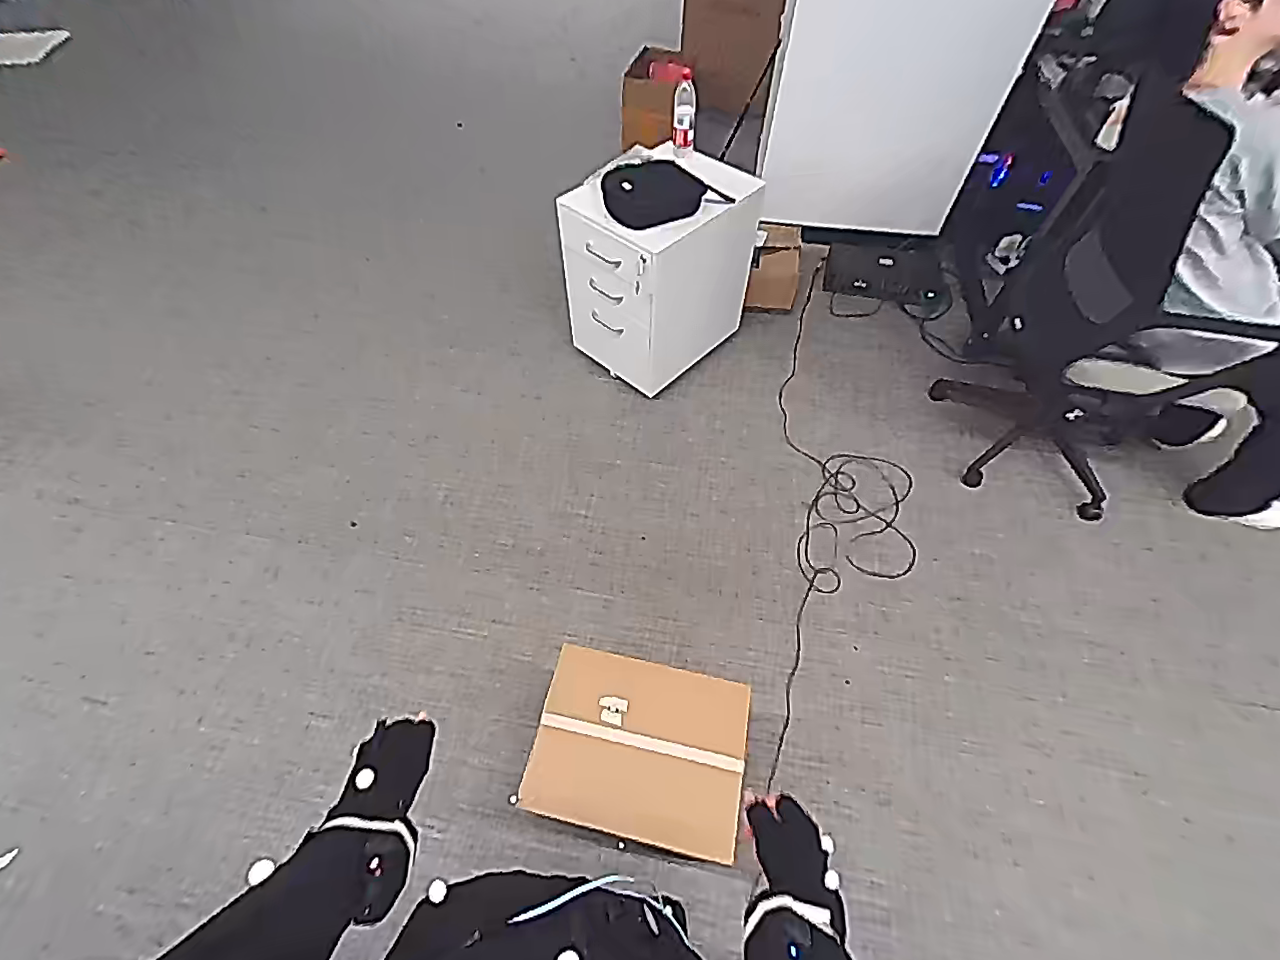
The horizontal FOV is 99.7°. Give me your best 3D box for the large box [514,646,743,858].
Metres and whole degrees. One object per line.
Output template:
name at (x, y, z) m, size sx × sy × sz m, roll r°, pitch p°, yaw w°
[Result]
large box at (-0.008, 0.594, 1.181) m, size 0.408 × 0.320 × 0.320 m, roll 11°, pitch 56°, yaw 7°
